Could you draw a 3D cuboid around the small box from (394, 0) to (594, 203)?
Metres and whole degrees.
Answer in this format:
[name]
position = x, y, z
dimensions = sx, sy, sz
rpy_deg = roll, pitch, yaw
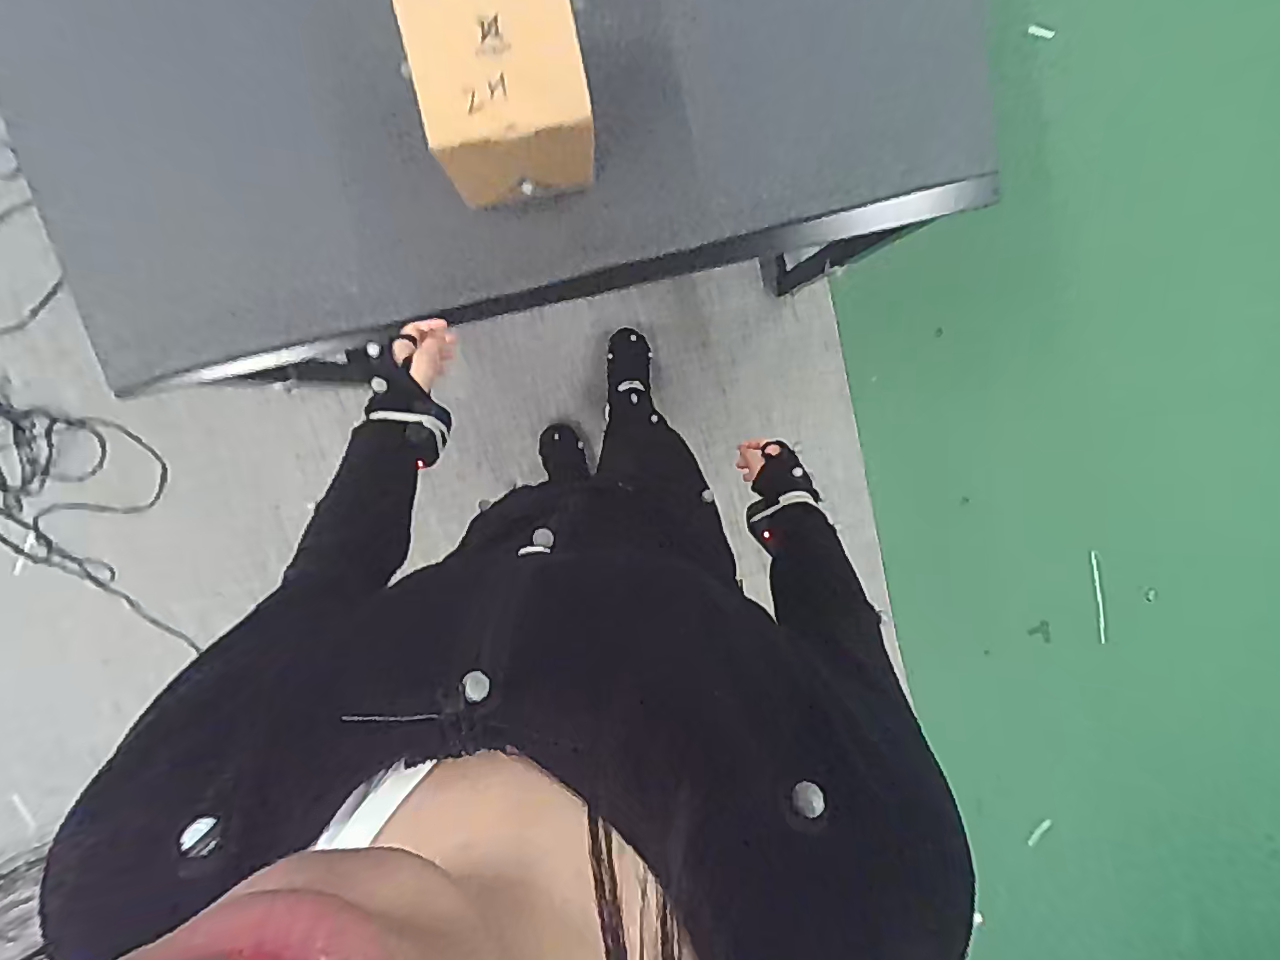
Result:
[small box]
position = -0.149, -0.435, 0.589
dimensions = 0.168, 0.176, 0.179
rpy_deg = -13, 98, -3
